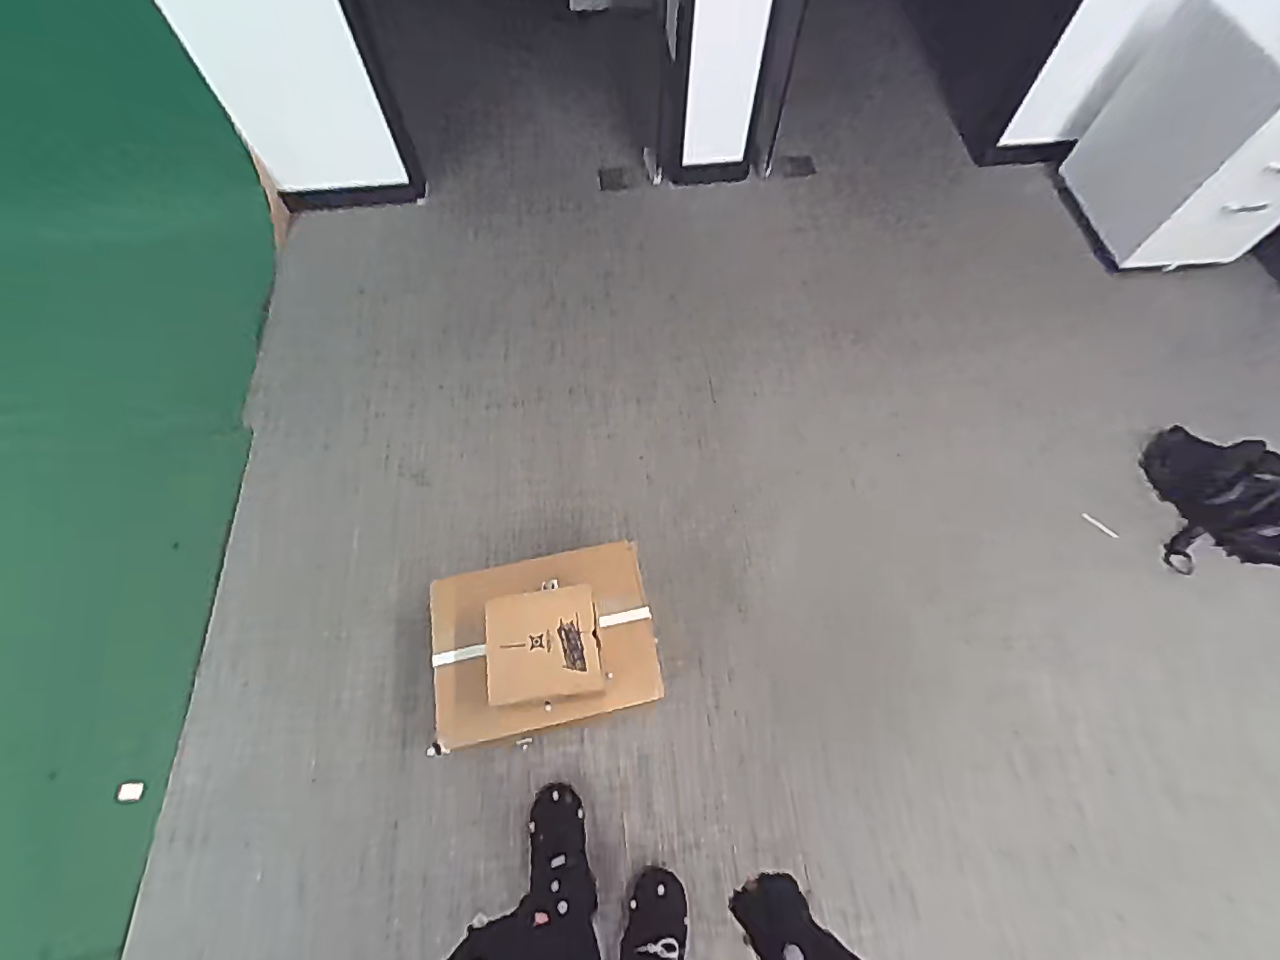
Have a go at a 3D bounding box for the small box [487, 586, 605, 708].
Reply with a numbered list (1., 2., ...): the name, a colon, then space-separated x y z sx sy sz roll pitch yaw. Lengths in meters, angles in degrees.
1. small box: -0.155 0.291 0.930 0.179 0.176 0.168 -8 65 -3
